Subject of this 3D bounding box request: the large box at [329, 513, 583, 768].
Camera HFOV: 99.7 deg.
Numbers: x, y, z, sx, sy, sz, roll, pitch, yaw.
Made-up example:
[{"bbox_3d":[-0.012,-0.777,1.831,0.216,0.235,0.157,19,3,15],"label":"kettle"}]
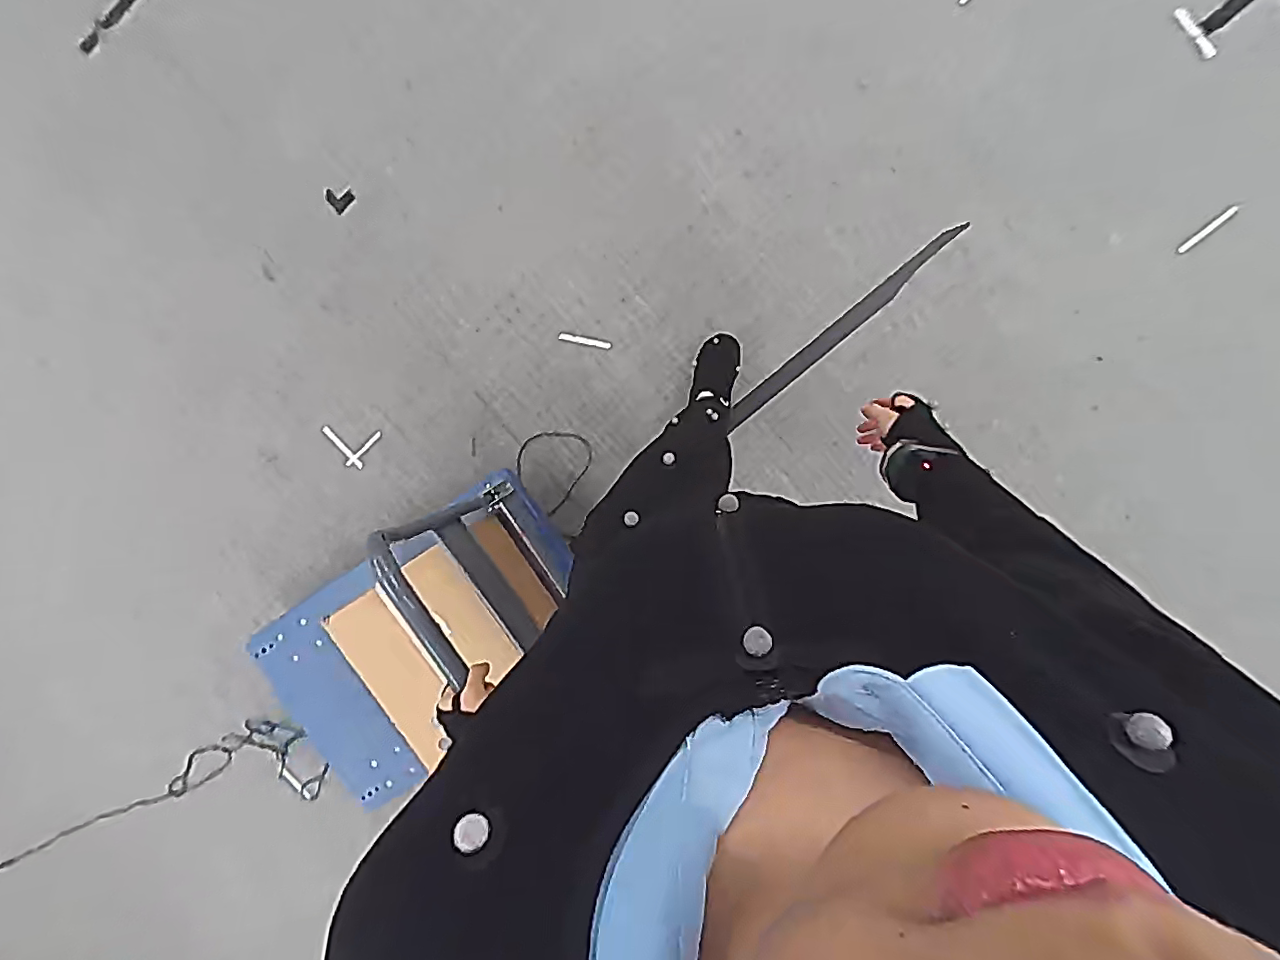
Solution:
[{"bbox_3d":[-0.388,0.341,1.241,0.320,0.320,0.408,-34,93,6],"label":"large box"}]
